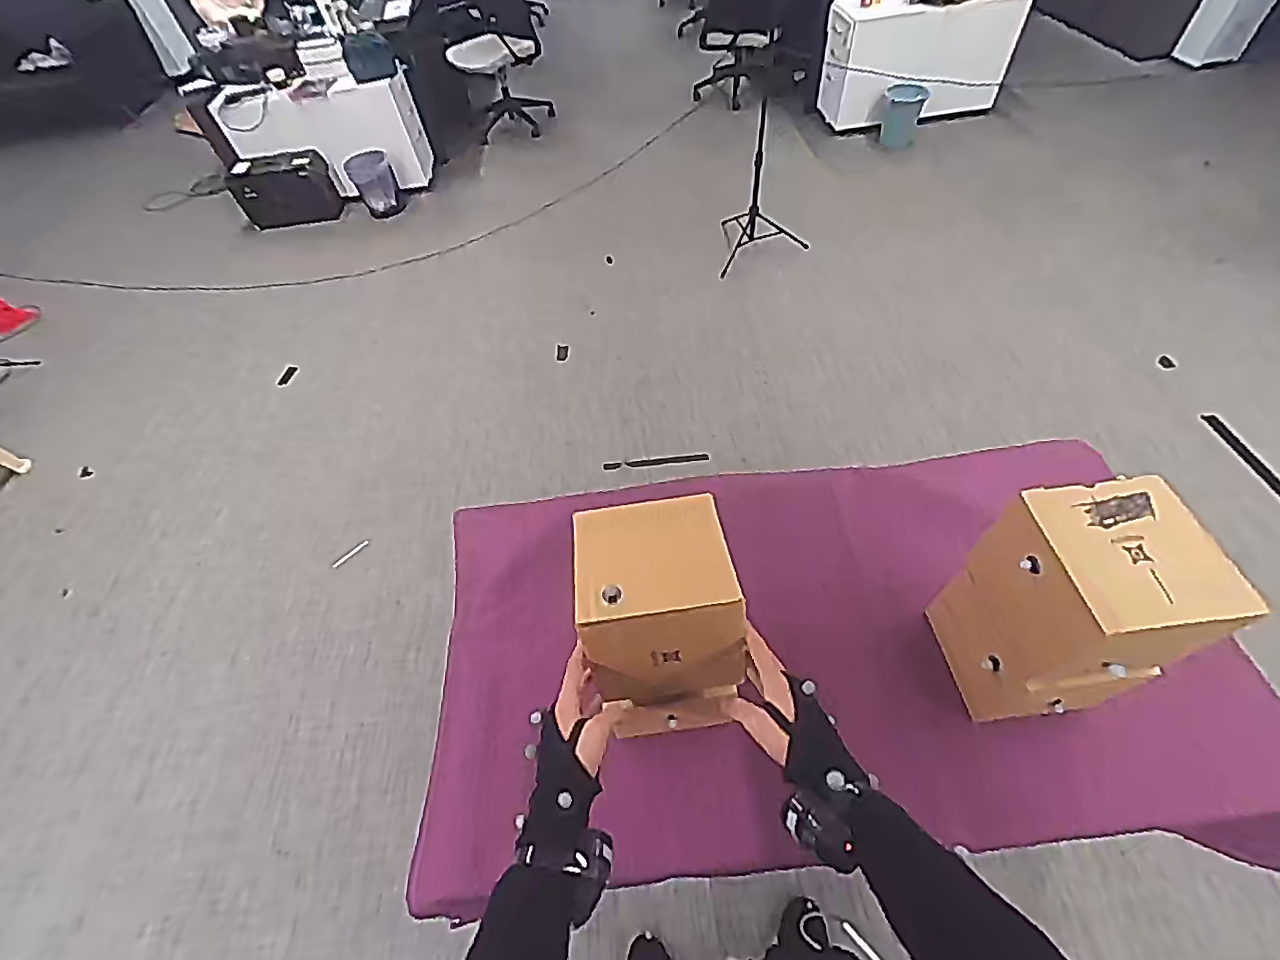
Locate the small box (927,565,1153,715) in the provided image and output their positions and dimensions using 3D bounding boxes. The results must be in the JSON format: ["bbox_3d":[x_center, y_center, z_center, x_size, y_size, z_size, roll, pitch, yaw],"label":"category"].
[{"bbox_3d":[0.549,0.227,0.775,0.168,0.176,0.179,-7,54,0],"label":"small box"}]

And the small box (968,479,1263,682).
[{"bbox_3d":[0.535,0.124,0.649,0.168,0.176,0.179,-7,54,1],"label":"small box"}]

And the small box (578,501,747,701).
[{"bbox_3d":[0.023,0.141,0.656,0.179,0.168,0.176,-7,41,1],"label":"small box"}]
